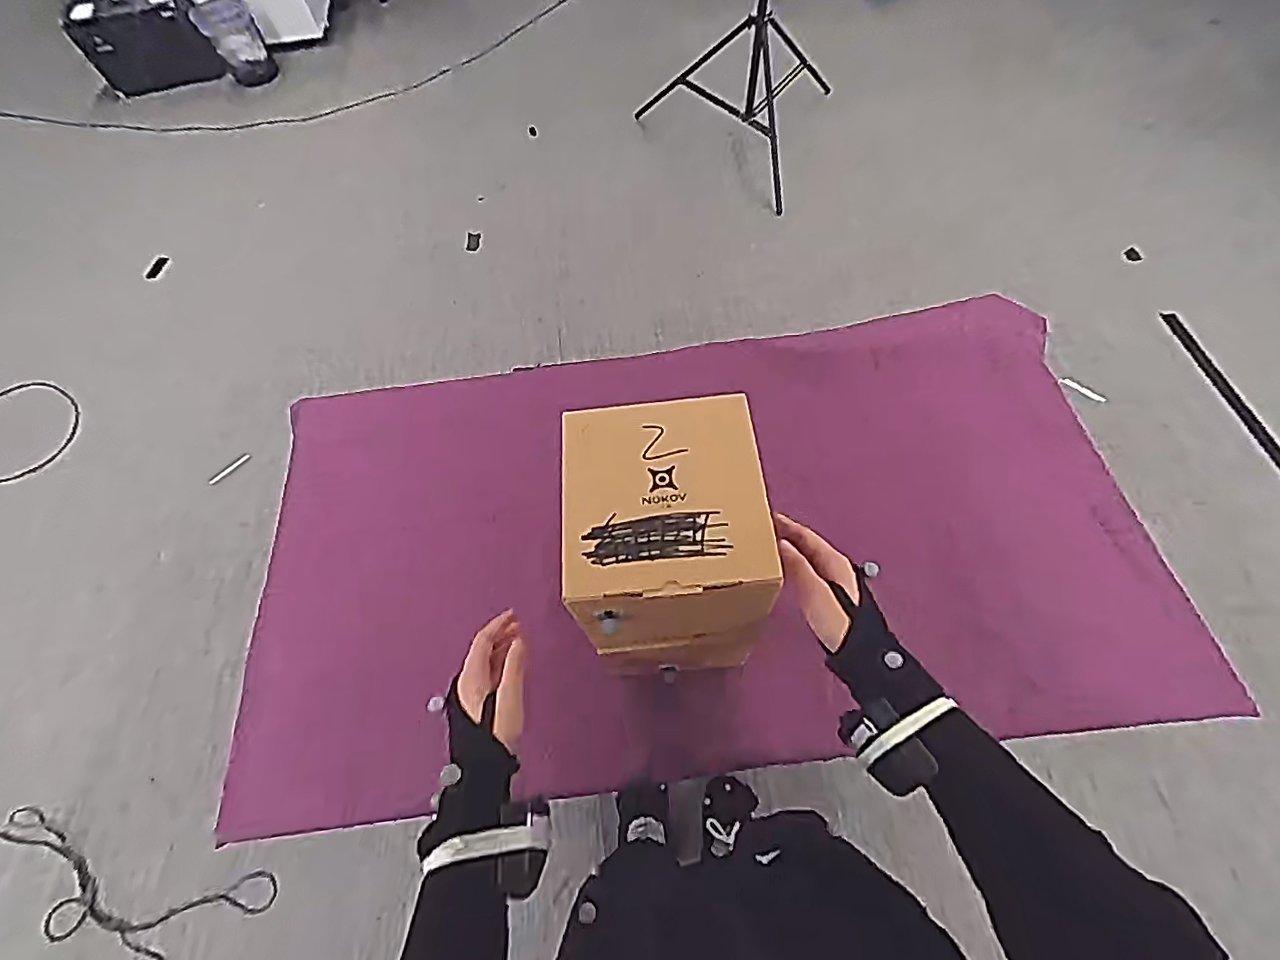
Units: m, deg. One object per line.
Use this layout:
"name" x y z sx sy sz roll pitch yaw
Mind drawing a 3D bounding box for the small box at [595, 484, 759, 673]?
"small box" 0.038 0.125 0.653 0.168 0.176 0.179 -6 62 1
